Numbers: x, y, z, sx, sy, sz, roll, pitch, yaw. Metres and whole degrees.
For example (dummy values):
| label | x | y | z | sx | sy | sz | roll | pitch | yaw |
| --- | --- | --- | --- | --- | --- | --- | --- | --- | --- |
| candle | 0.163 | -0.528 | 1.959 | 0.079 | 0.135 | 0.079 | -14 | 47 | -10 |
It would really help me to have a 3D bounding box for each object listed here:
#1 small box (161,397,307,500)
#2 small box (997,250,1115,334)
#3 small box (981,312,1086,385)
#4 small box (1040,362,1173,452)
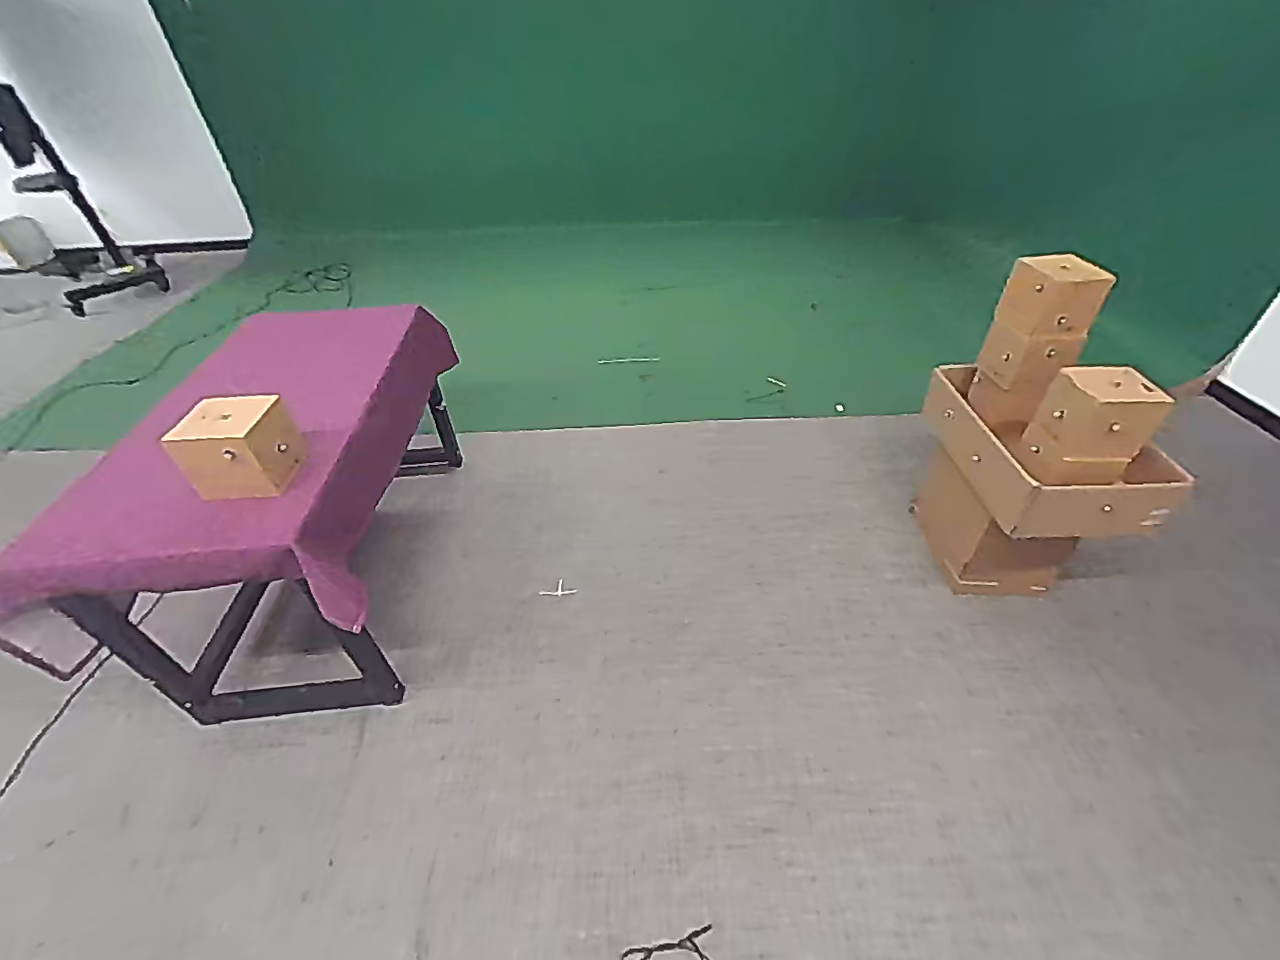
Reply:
| label | x | y | z | sx | sy | sz | roll | pitch | yaw |
| --- | --- | --- | --- | --- | --- | --- | --- | --- | --- |
| small box | -0.900 | -0.070 | 1.224 | 0.179 | 0.176 | 0.168 | -4 | 40 | 0 |
| small box | 1.151 | -0.526 | 1.516 | 0.168 | 0.176 | 0.179 | -6 | 42 | -3 |
| small box | 1.157 | -0.395 | 1.613 | 0.179 | 0.176 | 0.168 | -4 | 42 | -2 |
| small box | 1.158 | -0.182 | 1.367 | 0.179 | 0.176 | 0.168 | -1 | 42 | 3 |
